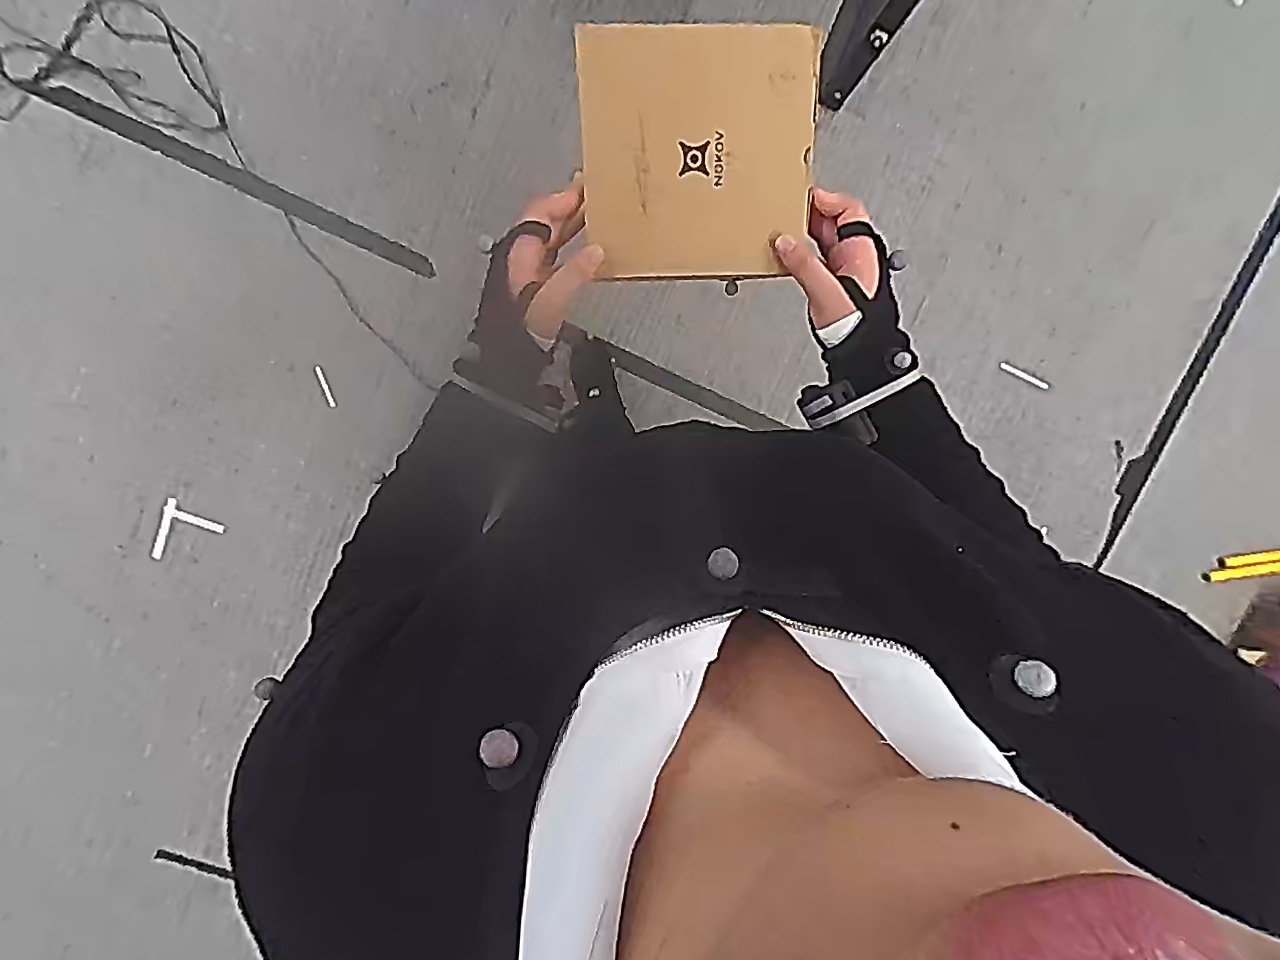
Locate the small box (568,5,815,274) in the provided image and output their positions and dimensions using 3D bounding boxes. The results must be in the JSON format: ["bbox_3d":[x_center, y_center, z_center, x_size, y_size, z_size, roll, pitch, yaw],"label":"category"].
[{"bbox_3d":[0.034,-0.274,0.473,0.179,0.176,0.168,-3,108,-2],"label":"small box"}]
